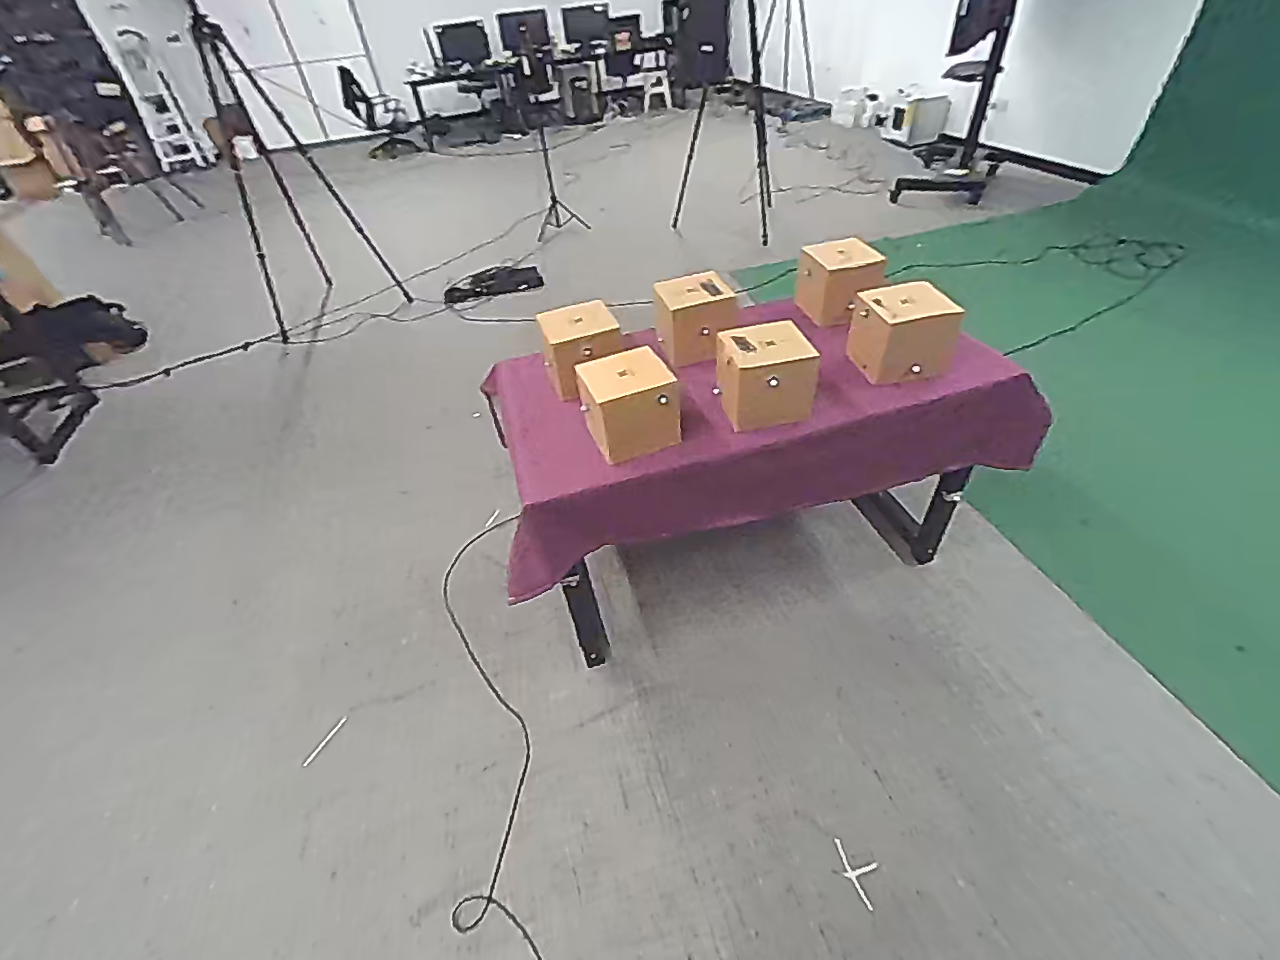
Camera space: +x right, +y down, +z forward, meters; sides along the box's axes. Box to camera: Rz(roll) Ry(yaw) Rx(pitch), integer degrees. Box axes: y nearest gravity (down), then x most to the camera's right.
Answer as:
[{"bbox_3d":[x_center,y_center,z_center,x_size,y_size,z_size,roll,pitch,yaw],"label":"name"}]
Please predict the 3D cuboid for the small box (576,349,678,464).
[{"bbox_3d":[-0.026,-0.159,1.192,0.179,0.176,0.168,-18,44,-14],"label":"small box"}]

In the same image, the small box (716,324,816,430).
[{"bbox_3d":[0.278,-0.231,1.227,0.179,0.176,0.168,-10,43,-5],"label":"small box"}]

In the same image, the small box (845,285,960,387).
[{"bbox_3d":[0.622,-0.346,1.305,0.179,0.176,0.168,-10,43,-4],"label":"small box"}]

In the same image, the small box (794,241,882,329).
[{"bbox_3d":[0.550,-0.552,1.531,0.168,0.176,0.179,-13,44,-5],"label":"small box"}]
